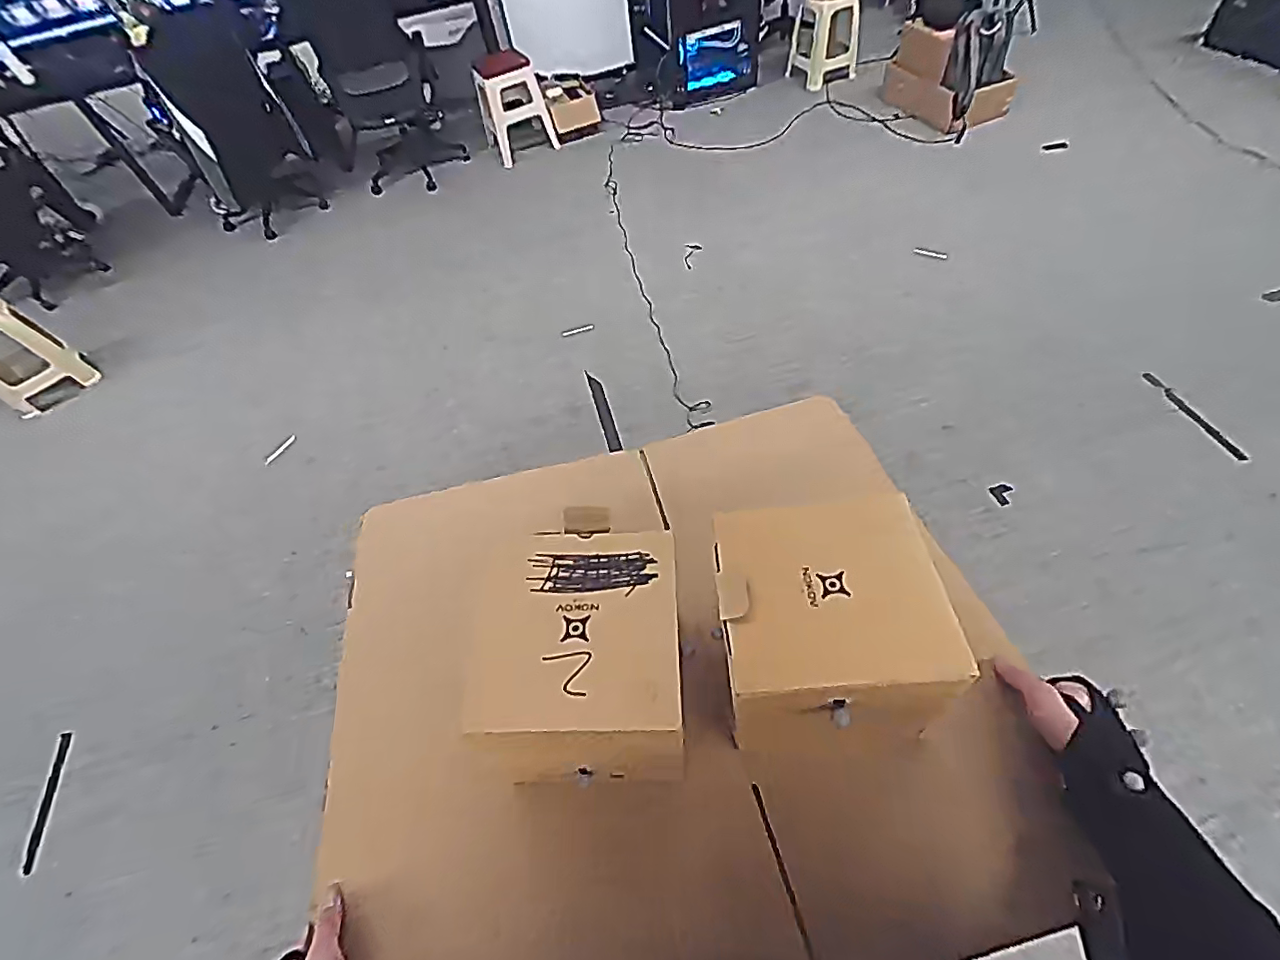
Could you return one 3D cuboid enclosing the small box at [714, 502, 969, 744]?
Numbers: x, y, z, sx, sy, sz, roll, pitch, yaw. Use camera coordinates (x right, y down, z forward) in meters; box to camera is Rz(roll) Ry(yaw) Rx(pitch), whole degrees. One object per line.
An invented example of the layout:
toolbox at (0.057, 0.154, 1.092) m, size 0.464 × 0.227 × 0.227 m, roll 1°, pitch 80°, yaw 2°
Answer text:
small box at (0.170, 0.142, 0.517) m, size 0.179 × 0.176 × 0.168 m, roll -8°, pitch 51°, yaw 7°
